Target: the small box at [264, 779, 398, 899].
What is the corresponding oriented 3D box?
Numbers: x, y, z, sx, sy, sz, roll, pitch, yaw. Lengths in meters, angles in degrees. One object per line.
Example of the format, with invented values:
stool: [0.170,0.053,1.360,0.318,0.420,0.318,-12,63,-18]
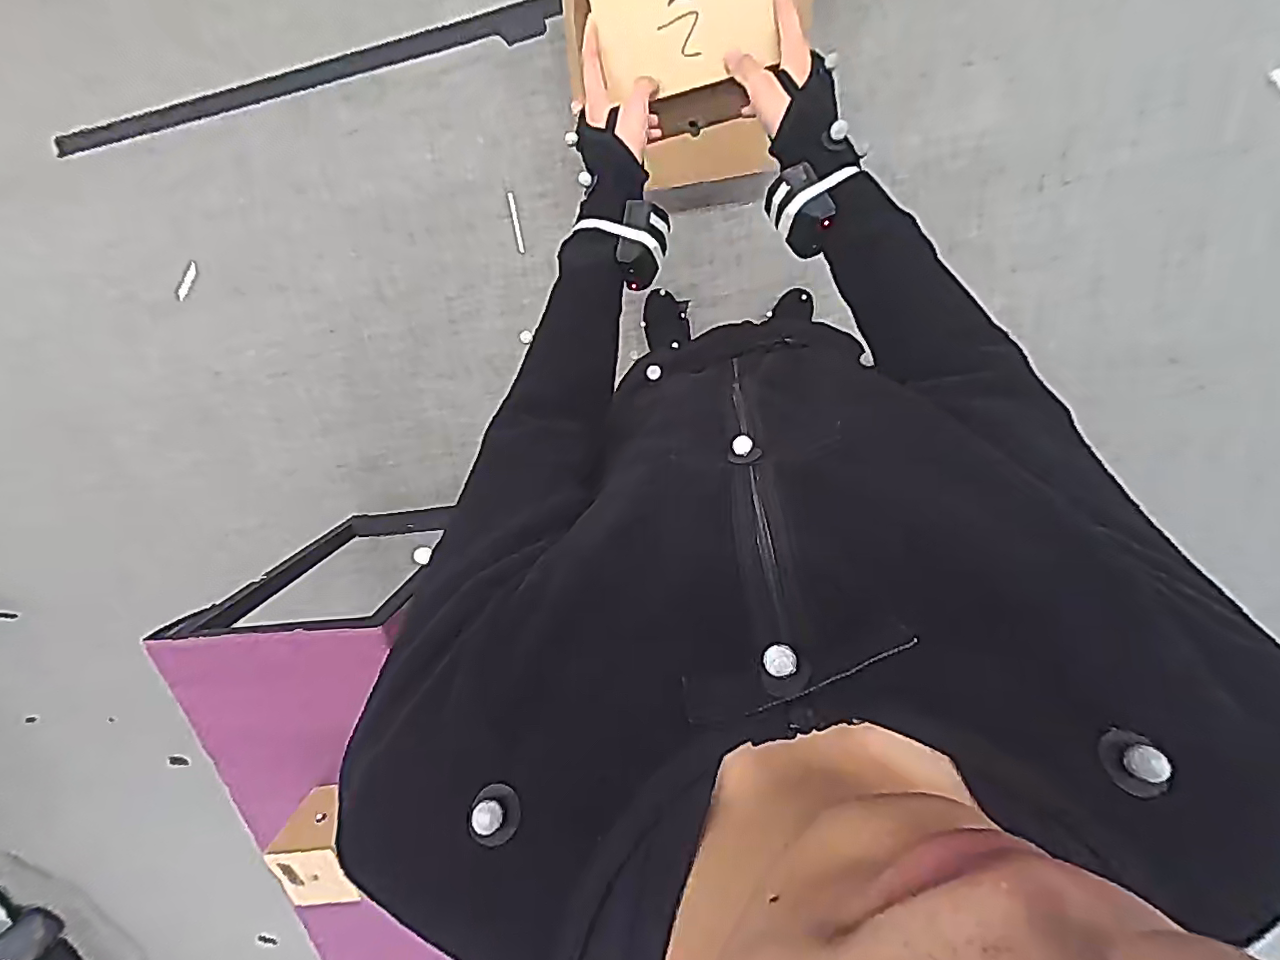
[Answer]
small box: [-0.705,0.827,1.253,0.179,0.176,0.168,-12,109,11]
